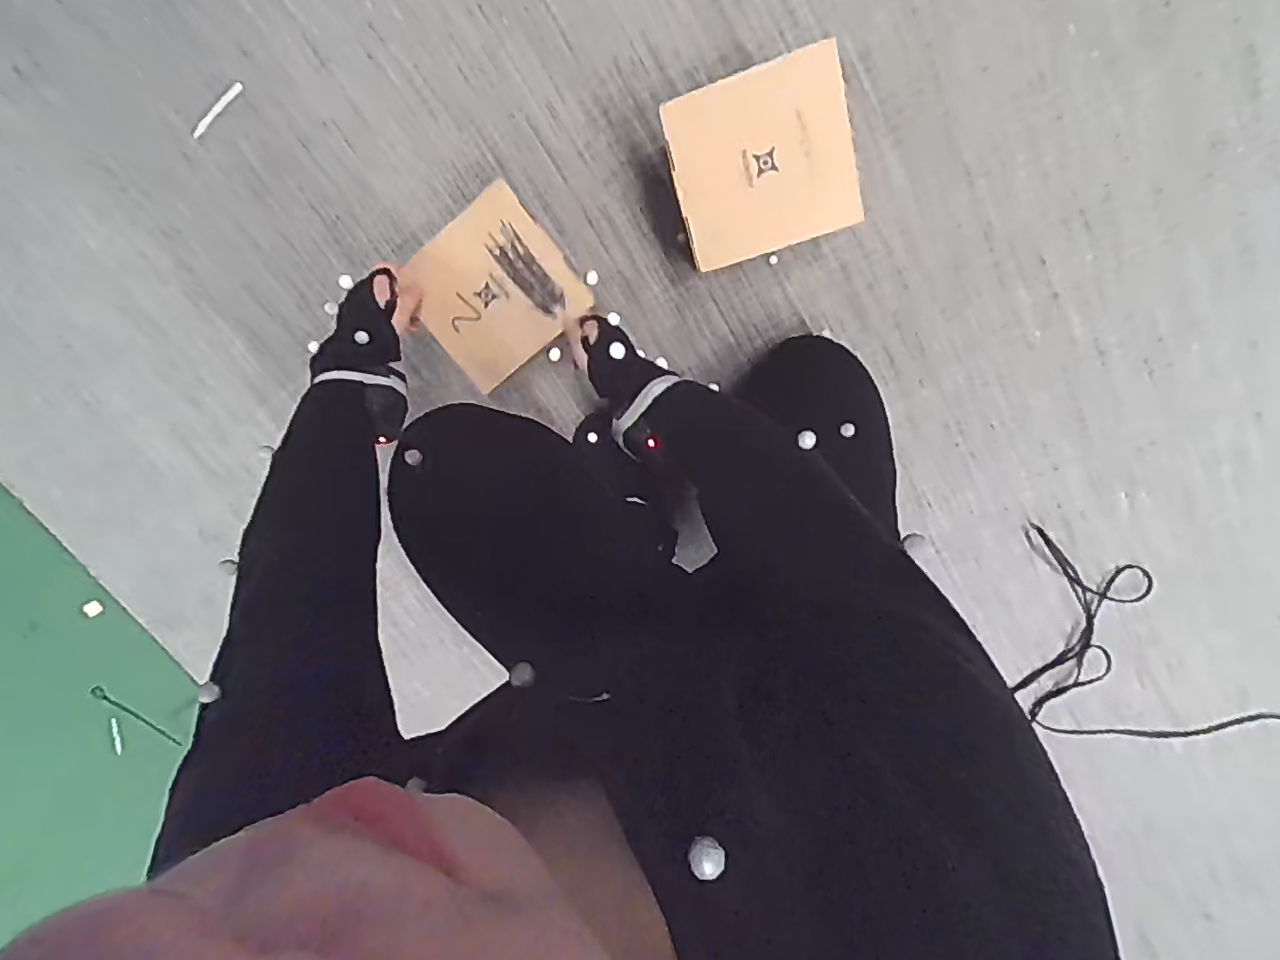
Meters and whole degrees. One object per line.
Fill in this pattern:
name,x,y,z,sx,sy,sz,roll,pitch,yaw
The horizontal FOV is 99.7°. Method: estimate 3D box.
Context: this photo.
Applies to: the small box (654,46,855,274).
small box,0.128,-0.341,0.619,0.179,0.176,0.168,-13,109,12
